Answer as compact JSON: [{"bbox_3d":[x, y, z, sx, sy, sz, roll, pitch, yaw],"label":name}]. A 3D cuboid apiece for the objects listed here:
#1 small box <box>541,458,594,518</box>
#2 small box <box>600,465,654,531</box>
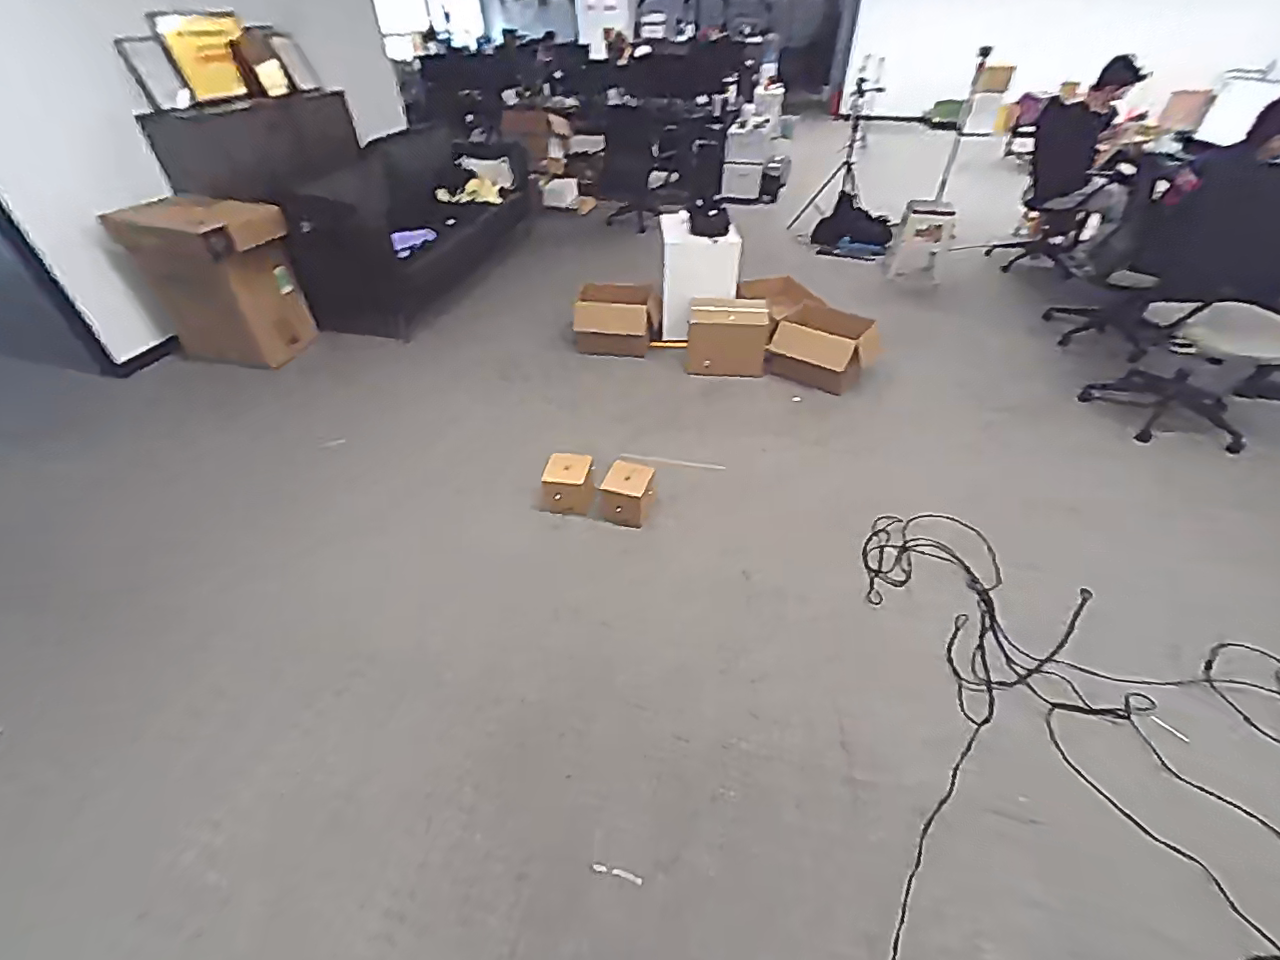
[{"bbox_3d":[-0.282,0.034,2.157,0.168,0.176,0.179,5,40,7],"label":"small box"},{"bbox_3d":[-0.045,0.073,2.105,0.168,0.176,0.179,12,42,14],"label":"small box"}]
